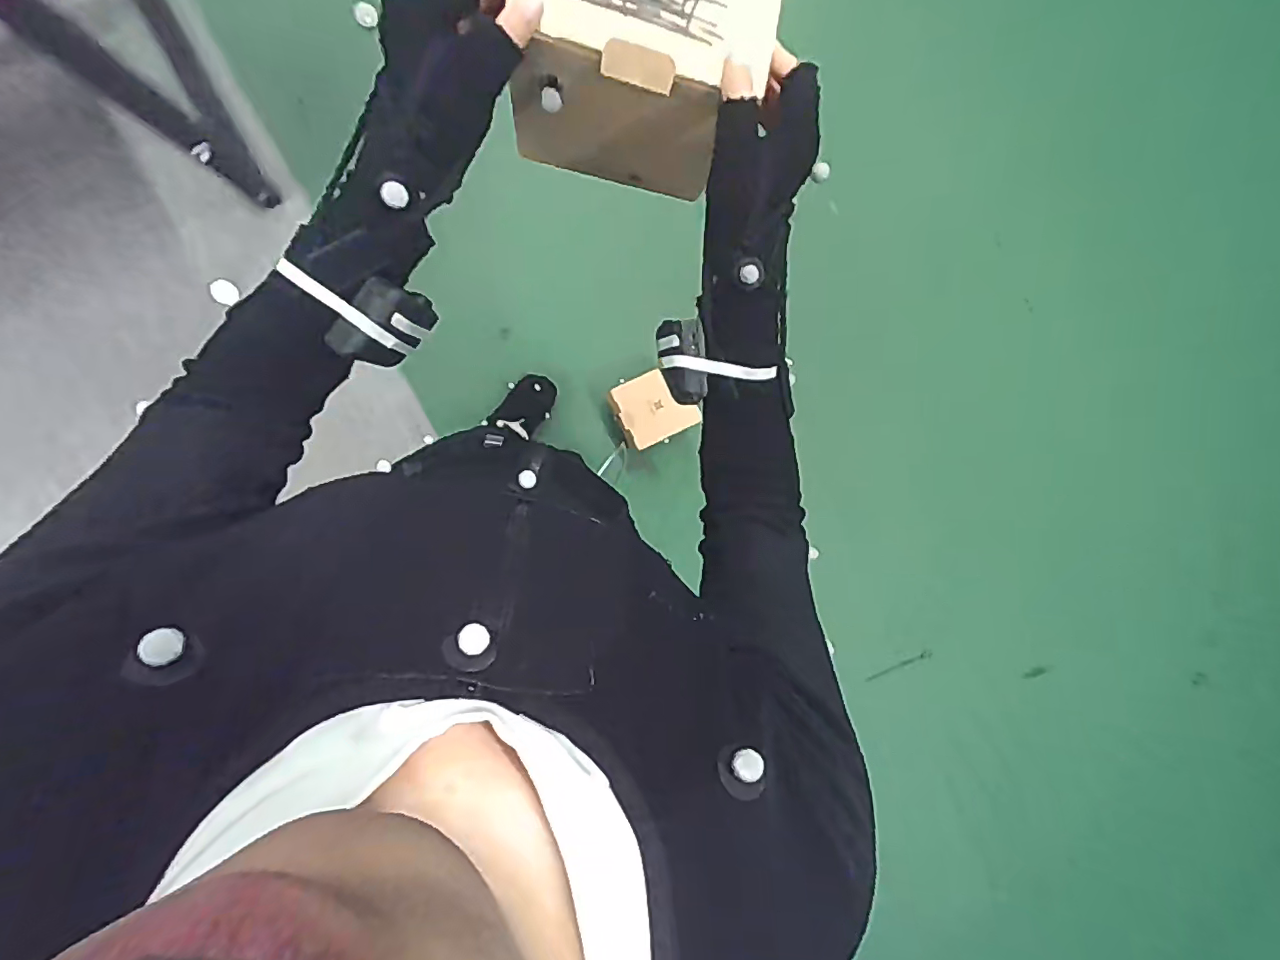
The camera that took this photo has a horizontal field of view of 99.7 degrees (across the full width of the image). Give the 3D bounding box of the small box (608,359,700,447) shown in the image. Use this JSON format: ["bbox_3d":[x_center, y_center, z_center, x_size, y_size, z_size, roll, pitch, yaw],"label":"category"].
[{"bbox_3d":[0.030,-0.198,1.403,0.179,0.176,0.168,-25,98,-4],"label":"small box"}]
